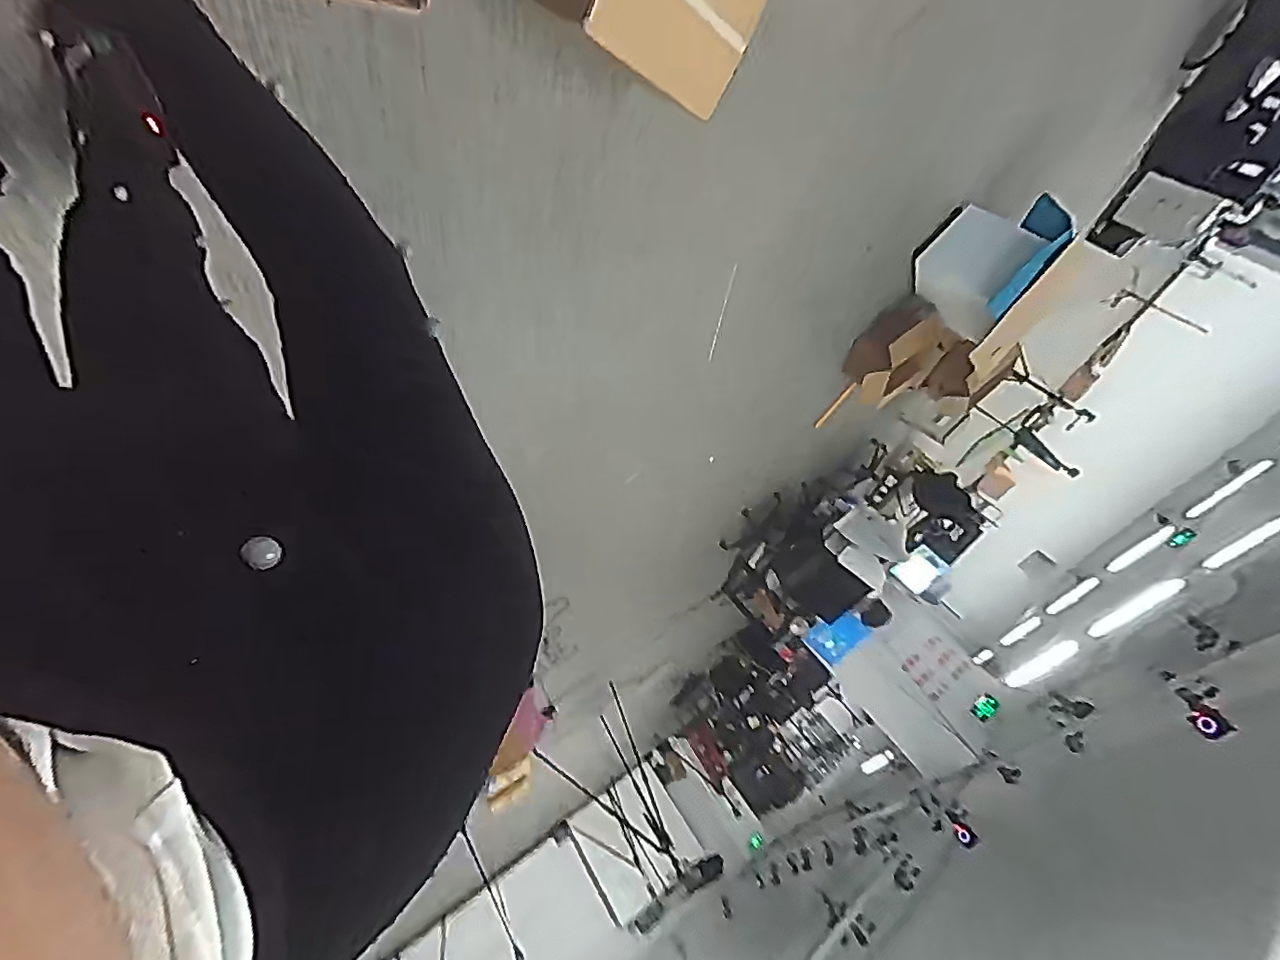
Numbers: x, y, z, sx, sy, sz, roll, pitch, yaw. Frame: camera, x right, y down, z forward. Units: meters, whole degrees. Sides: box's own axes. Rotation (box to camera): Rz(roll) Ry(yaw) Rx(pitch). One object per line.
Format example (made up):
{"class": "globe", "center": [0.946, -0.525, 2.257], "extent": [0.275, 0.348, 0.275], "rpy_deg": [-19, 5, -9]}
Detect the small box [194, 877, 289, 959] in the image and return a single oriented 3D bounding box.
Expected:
{"class": "small box", "center": [-1.166, 1.311, 1.588], "extent": [0.168, 0.176, 0.179], "rpy_deg": [-25, 150, -31]}

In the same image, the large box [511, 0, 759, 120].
{"class": "large box", "center": [-0.006, -1.060, 1.153], "extent": [0.408, 0.320, 0.320], "rpy_deg": [-4, 134, -47]}

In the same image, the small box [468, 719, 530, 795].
{"class": "small box", "center": [-0.519, 1.014, 1.988], "extent": [0.168, 0.176, 0.179], "rpy_deg": [-24, 148, -29]}
